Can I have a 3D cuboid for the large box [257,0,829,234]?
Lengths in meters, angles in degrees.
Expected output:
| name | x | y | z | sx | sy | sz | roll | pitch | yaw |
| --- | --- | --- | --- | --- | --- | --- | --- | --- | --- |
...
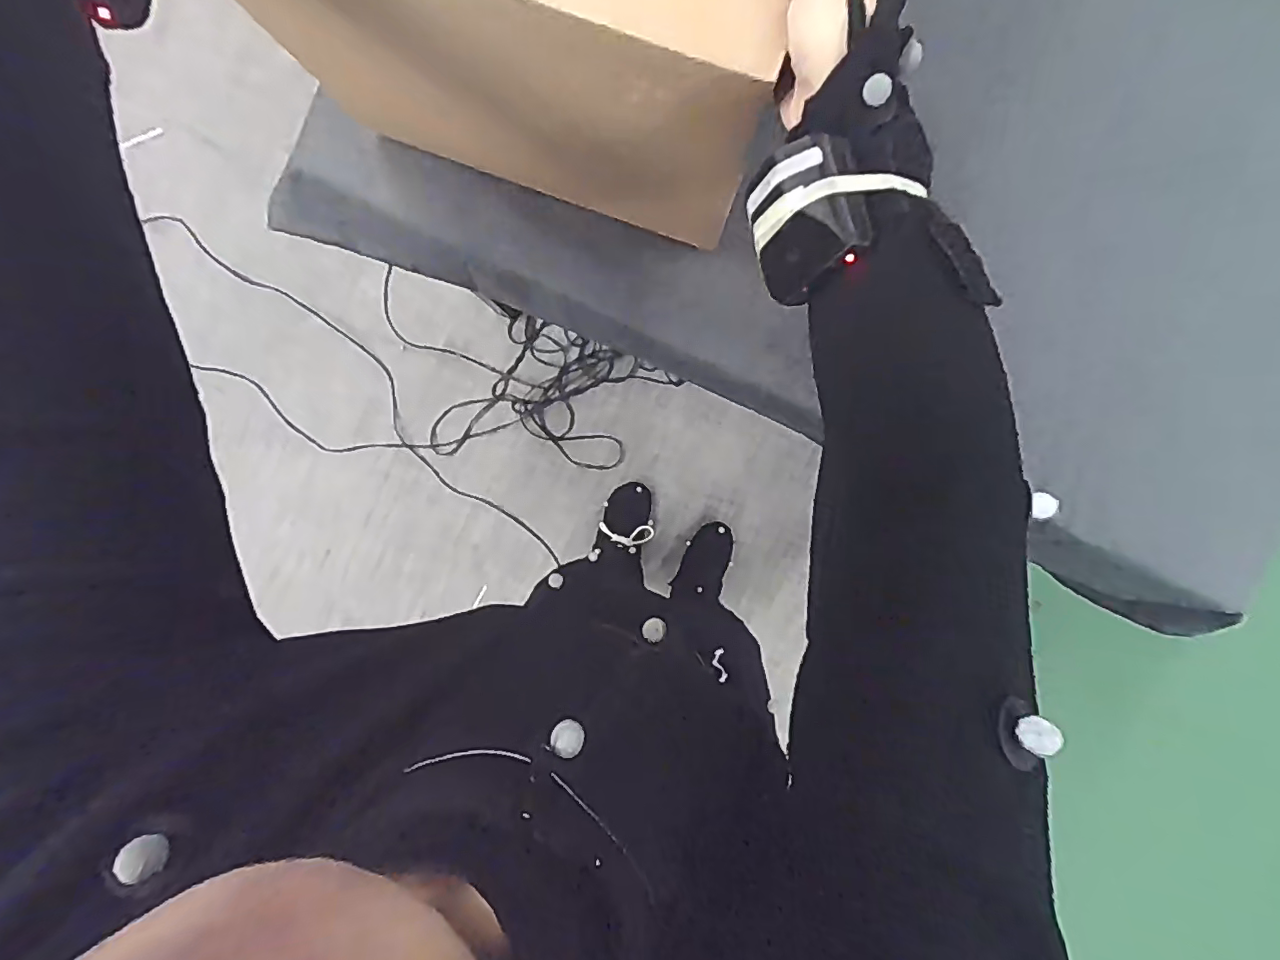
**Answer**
| name | x | y | z | sx | sy | sz | roll | pitch | yaw |
| --- | --- | --- | --- | --- | --- | --- | --- | --- | --- |
| large box | -0.055 | -0.444 | 0.418 | 0.408 | 0.320 | 0.320 | 18 | 99 | -2 |
